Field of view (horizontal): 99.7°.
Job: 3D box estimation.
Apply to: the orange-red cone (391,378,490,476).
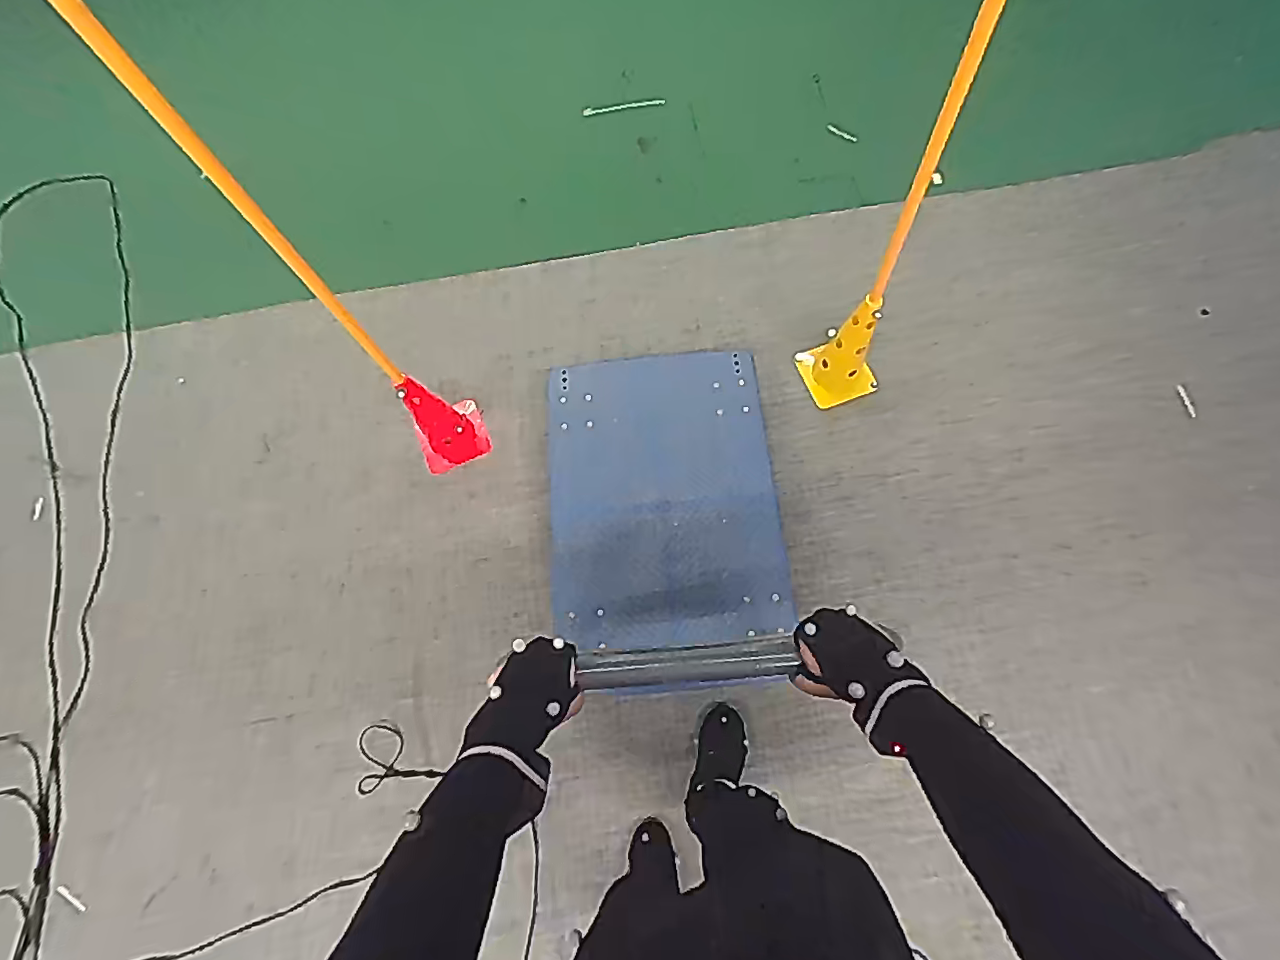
[{"bbox_3d":[-0.583,-0.178,1.491,0.199,0.360,0.198,-24,71,-3],"label":"orange-red cone"}]
